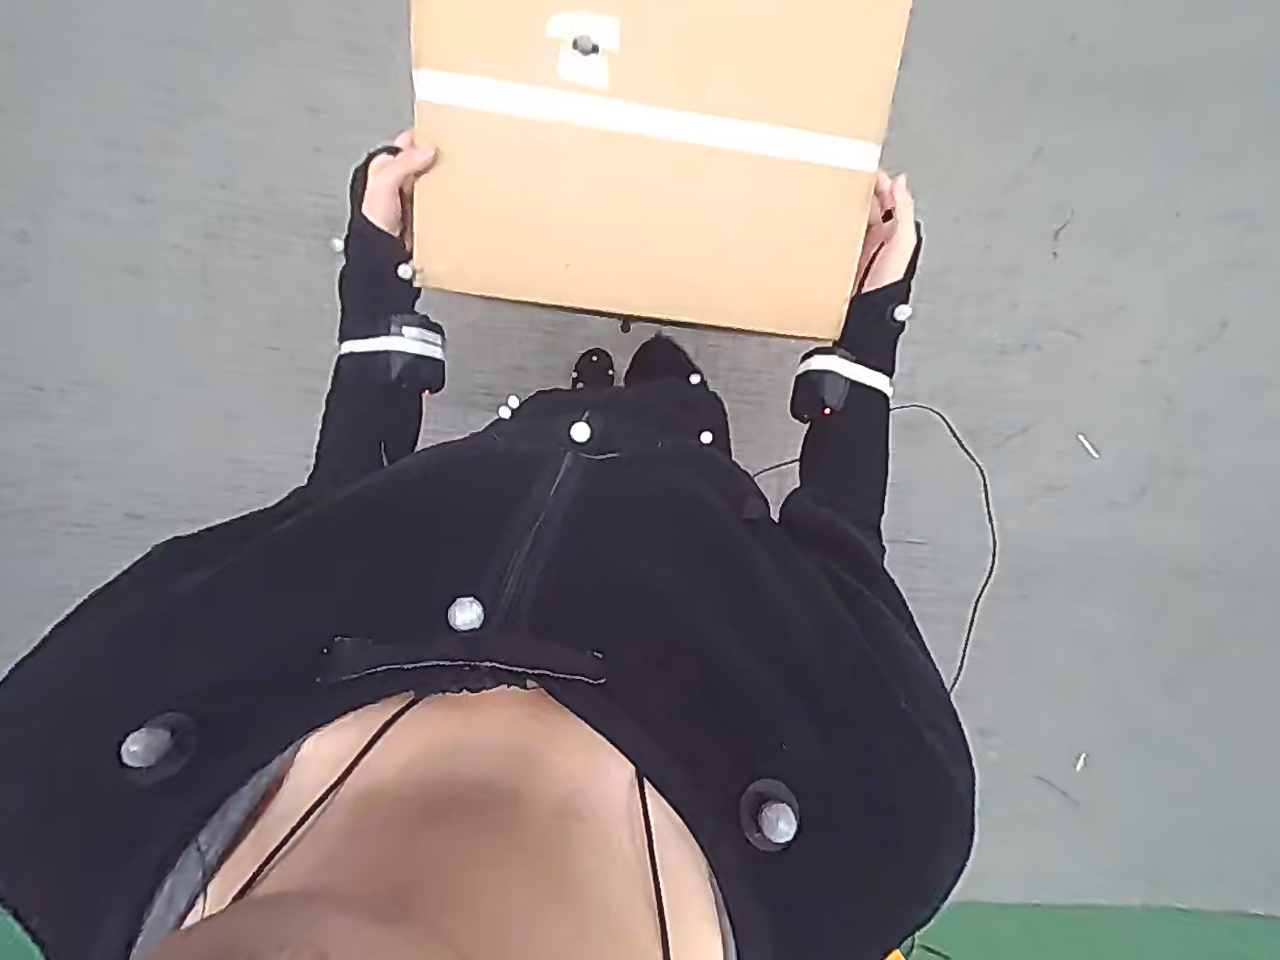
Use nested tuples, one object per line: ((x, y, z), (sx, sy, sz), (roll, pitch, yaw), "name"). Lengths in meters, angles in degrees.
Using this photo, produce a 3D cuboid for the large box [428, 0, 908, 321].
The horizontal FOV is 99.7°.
((0.011, -0.364, 0.616), (0.408, 0.320, 0.320), (6, 105, -6), "large box")
